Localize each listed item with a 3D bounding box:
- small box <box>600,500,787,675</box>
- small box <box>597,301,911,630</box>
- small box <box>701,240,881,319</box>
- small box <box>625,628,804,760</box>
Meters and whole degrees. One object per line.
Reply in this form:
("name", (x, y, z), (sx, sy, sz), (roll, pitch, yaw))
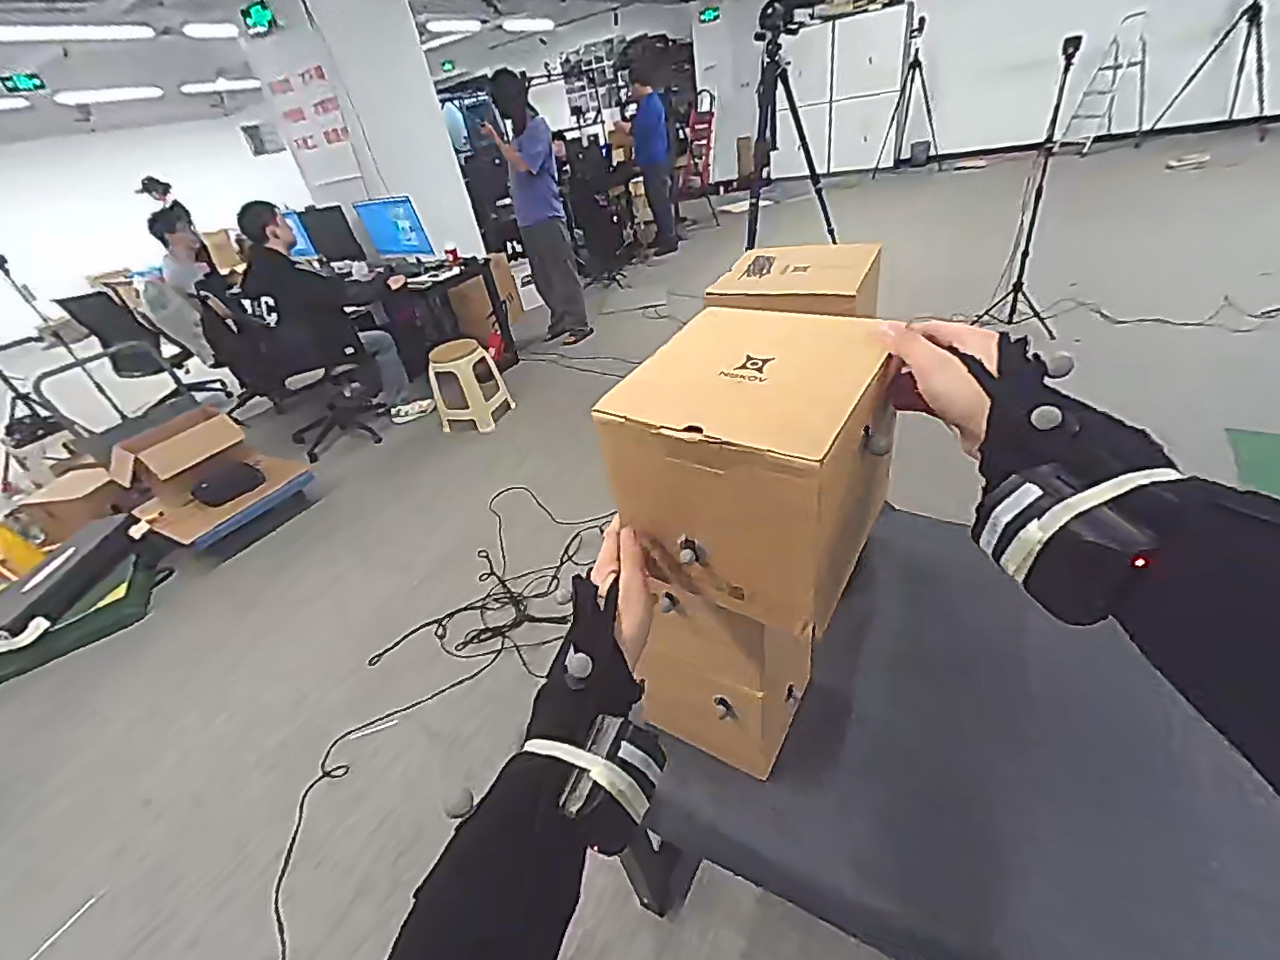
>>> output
("small box", (0.082, 0.089, 0.614), (0.179, 0.176, 0.168), (10, 39, 28))
("small box", (0.093, -0.020, 0.427), (0.168, 0.176, 0.179), (17, 48, 32))
("small box", (0.197, -0.196, 0.700), (0.179, 0.176, 0.168), (12, 43, 27))
("small box", (0.106, 0.226, 0.701), (0.179, 0.176, 0.168), (14, 40, 31))
